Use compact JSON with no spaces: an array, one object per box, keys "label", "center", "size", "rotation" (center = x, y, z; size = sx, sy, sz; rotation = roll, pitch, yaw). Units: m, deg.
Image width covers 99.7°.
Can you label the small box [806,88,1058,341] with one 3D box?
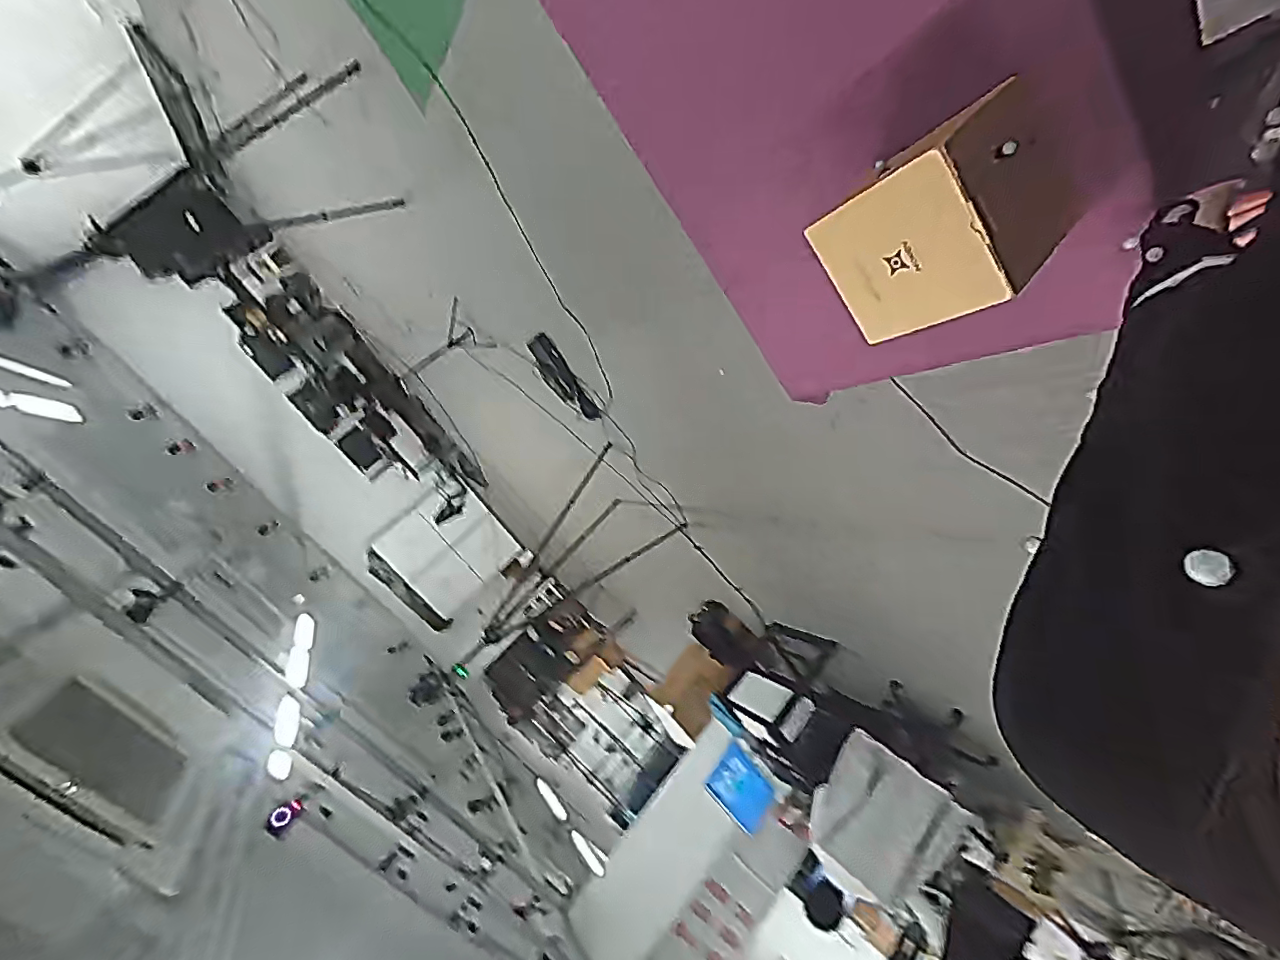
[{"label":"small box","center":[0.334,-0.292,0.615],"size":[0.168,0.176,0.179],"rotation":[52,158,-15]}]
